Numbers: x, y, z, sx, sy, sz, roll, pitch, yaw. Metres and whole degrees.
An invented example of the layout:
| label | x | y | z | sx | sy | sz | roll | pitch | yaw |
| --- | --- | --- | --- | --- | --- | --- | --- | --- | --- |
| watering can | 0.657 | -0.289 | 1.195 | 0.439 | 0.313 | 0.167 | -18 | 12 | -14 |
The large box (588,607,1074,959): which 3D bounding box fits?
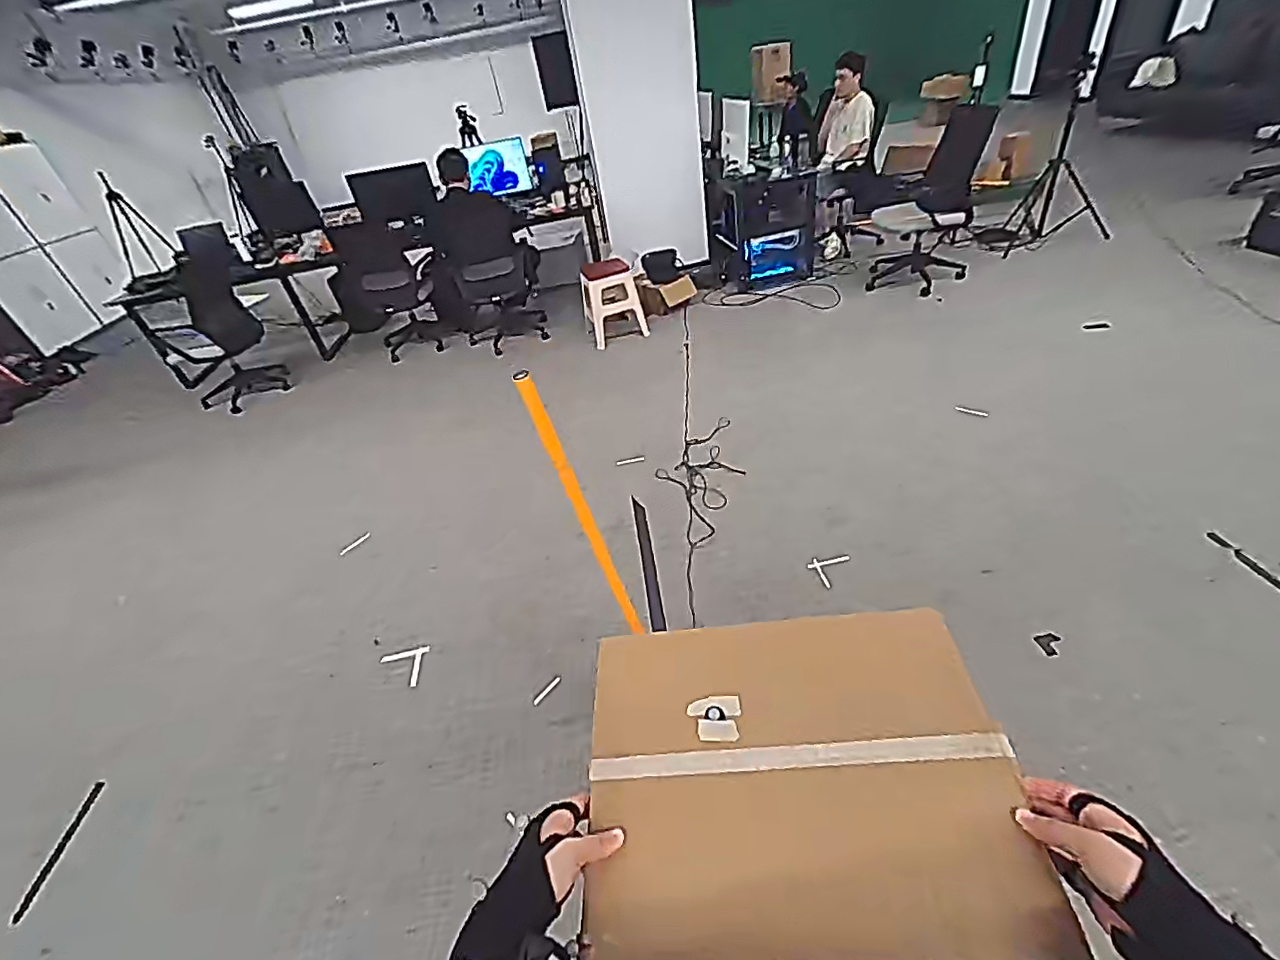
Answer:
| label | x | y | z | sx | sy | sz | roll | pitch | yaw |
| --- | --- | --- | --- | --- | --- | --- | --- | --- | --- |
| large box | 0.180 | 0.388 | 0.656 | 0.408 | 0.320 | 0.320 | -8 | 42 | 9 |
